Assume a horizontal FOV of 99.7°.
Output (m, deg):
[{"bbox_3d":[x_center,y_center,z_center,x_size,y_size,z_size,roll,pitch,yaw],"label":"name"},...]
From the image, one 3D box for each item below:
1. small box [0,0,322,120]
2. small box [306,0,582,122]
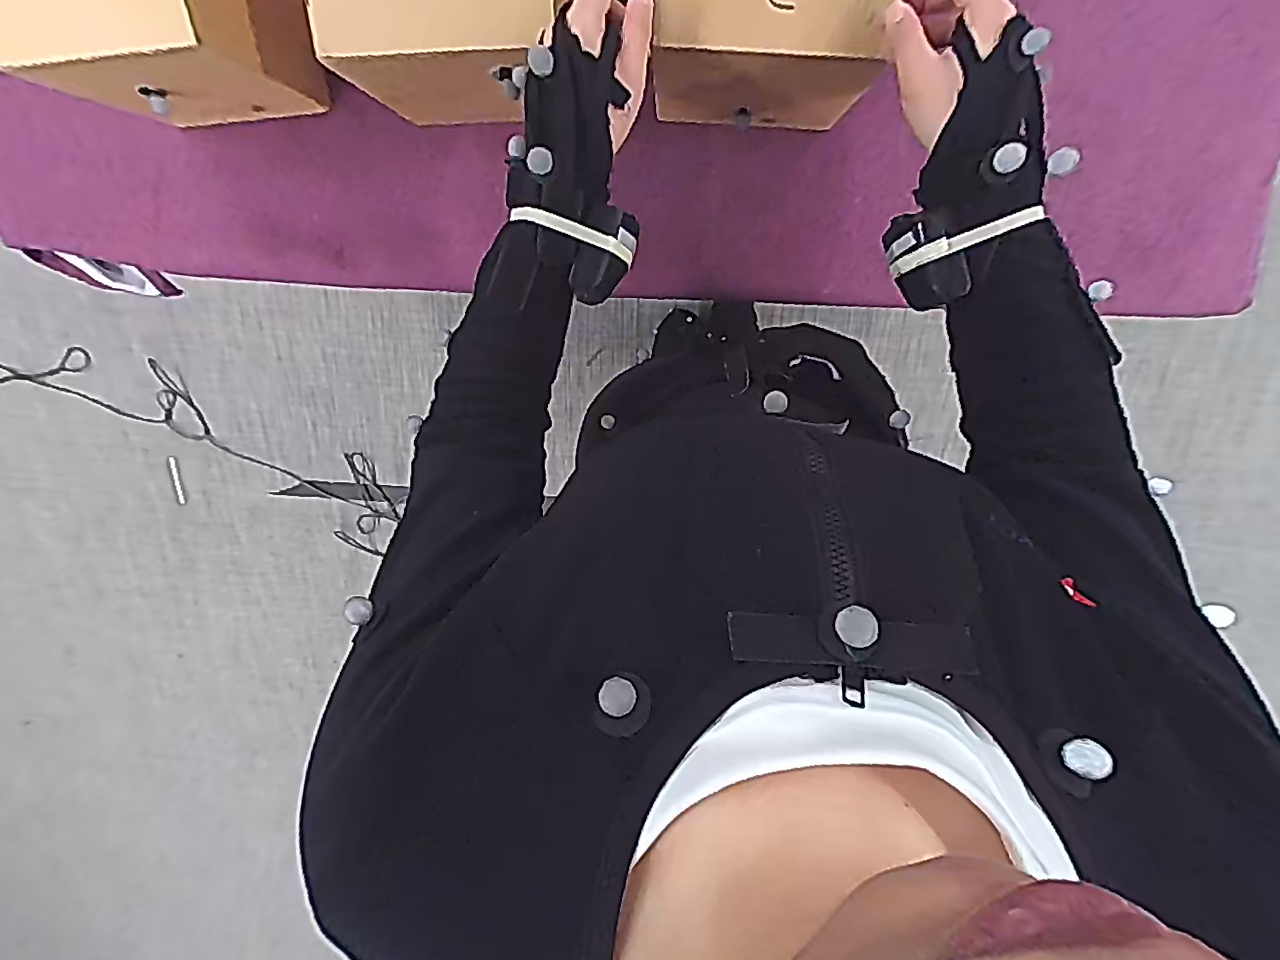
[{"bbox_3d":[-0.397,-0.416,0.439,0.168,0.176,0.179,-3,109,4],"label":"small box"},{"bbox_3d":[-0.142,-0.403,0.427,0.179,0.176,0.168,-1,108,3],"label":"small box"}]
